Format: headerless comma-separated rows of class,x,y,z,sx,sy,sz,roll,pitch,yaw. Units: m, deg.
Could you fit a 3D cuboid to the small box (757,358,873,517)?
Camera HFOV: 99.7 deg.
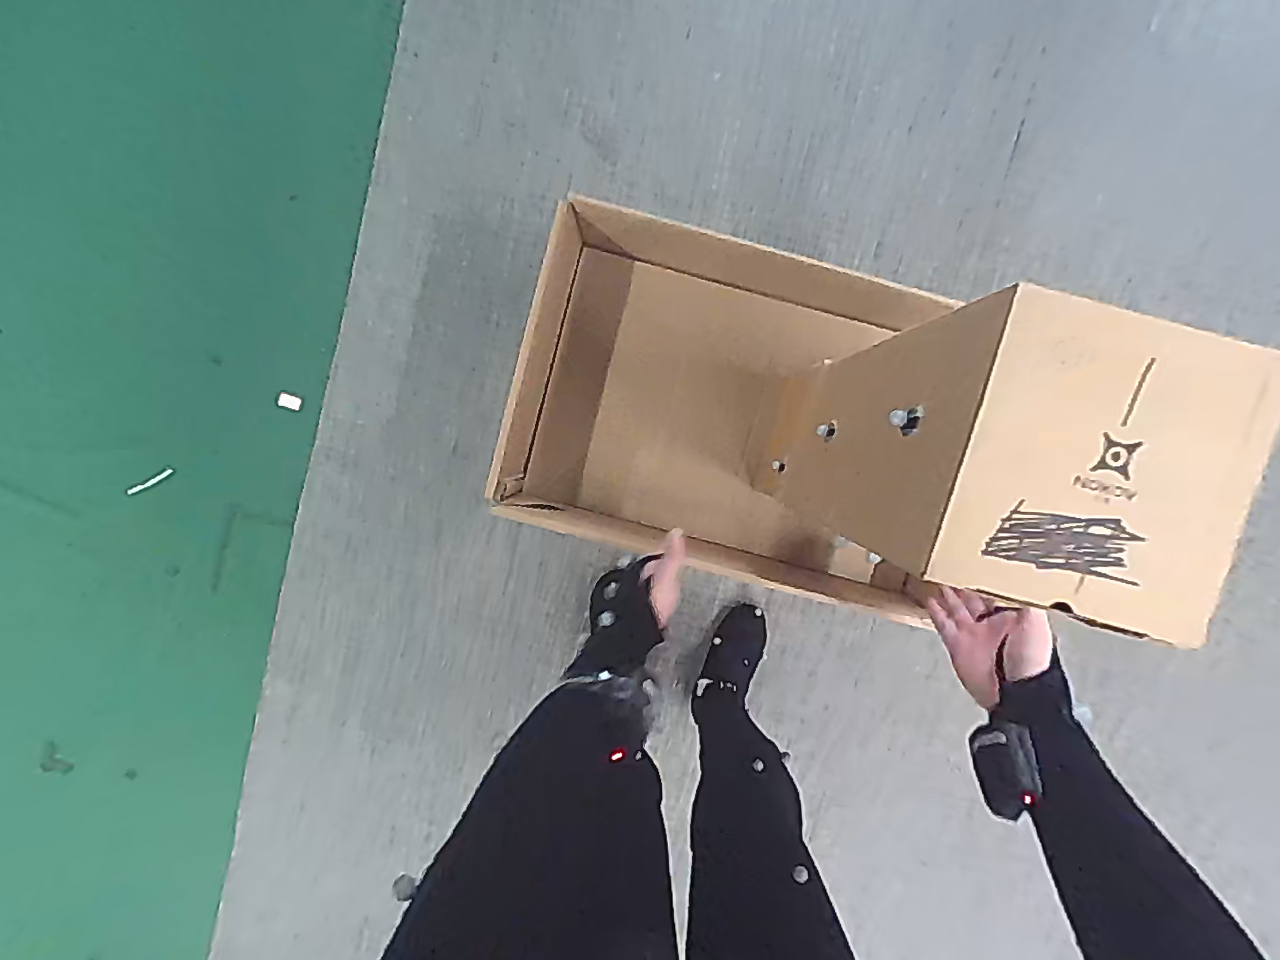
small box,0.267,-0.044,0.713,0.168,0.176,0.179,16,95,0

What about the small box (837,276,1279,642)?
small box,0.261,-0.015,0.386,0.168,0.176,0.179,15,94,0
